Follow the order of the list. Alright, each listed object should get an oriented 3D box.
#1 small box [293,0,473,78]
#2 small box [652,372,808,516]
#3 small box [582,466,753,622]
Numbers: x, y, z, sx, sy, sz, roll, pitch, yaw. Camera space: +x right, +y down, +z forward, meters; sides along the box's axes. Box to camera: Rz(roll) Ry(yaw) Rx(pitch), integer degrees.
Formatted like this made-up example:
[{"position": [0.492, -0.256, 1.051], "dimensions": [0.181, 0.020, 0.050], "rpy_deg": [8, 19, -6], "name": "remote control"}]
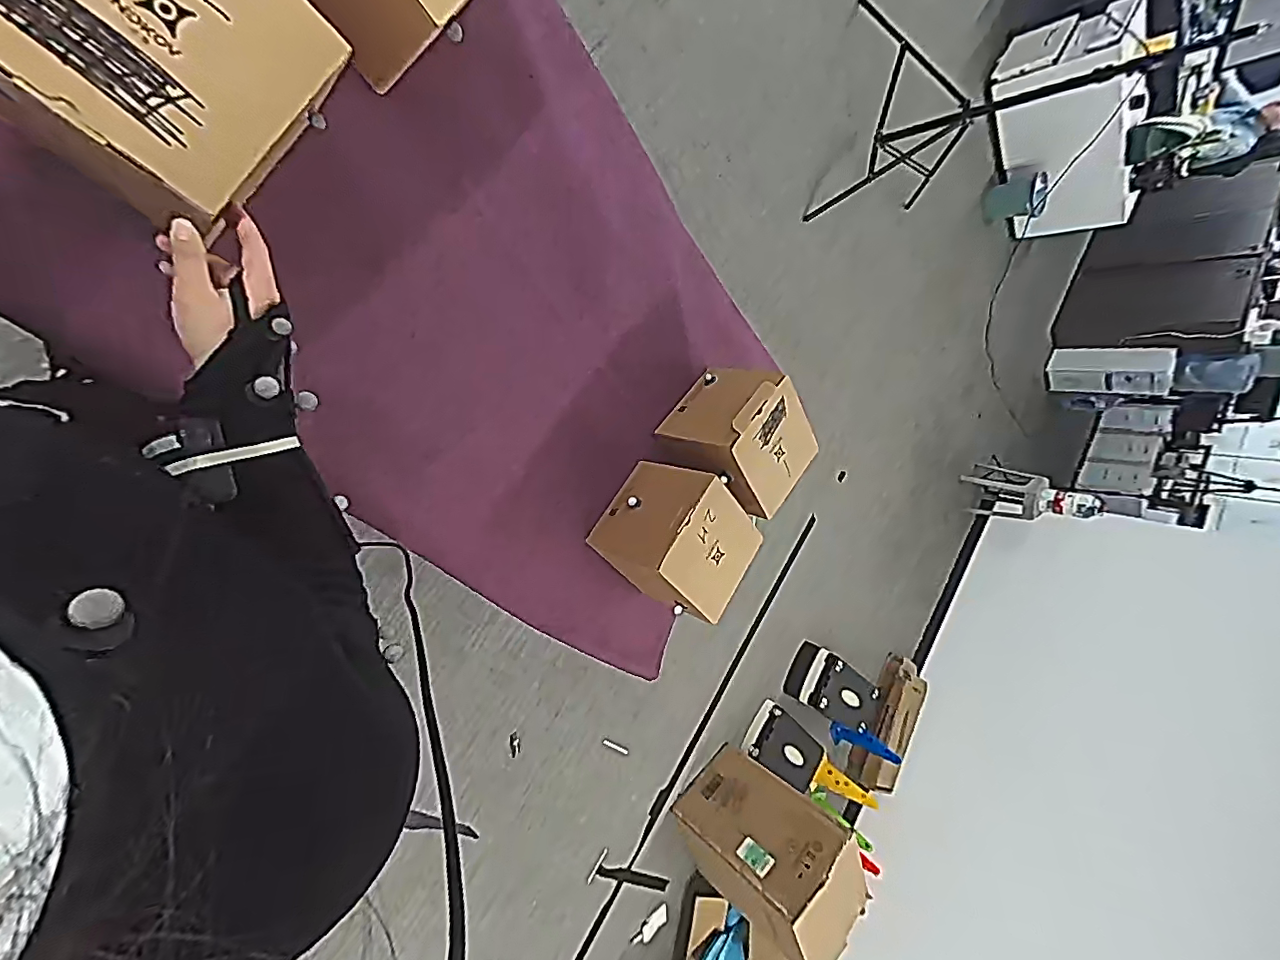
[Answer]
[{"position": [-0.233, -0.503, 0.480], "dimensions": [0.179, 0.176, 0.168], "rpy_deg": [42, 72, -39], "name": "small box"}, {"position": [0.151, -0.067, 0.920], "dimensions": [0.168, 0.176, 0.179], "rpy_deg": [-50, 129, -19], "name": "small box"}, {"position": [0.044, 0.093, 0.864], "dimensions": [0.179, 0.176, 0.168], "rpy_deg": [49, 66, -36], "name": "small box"}]
